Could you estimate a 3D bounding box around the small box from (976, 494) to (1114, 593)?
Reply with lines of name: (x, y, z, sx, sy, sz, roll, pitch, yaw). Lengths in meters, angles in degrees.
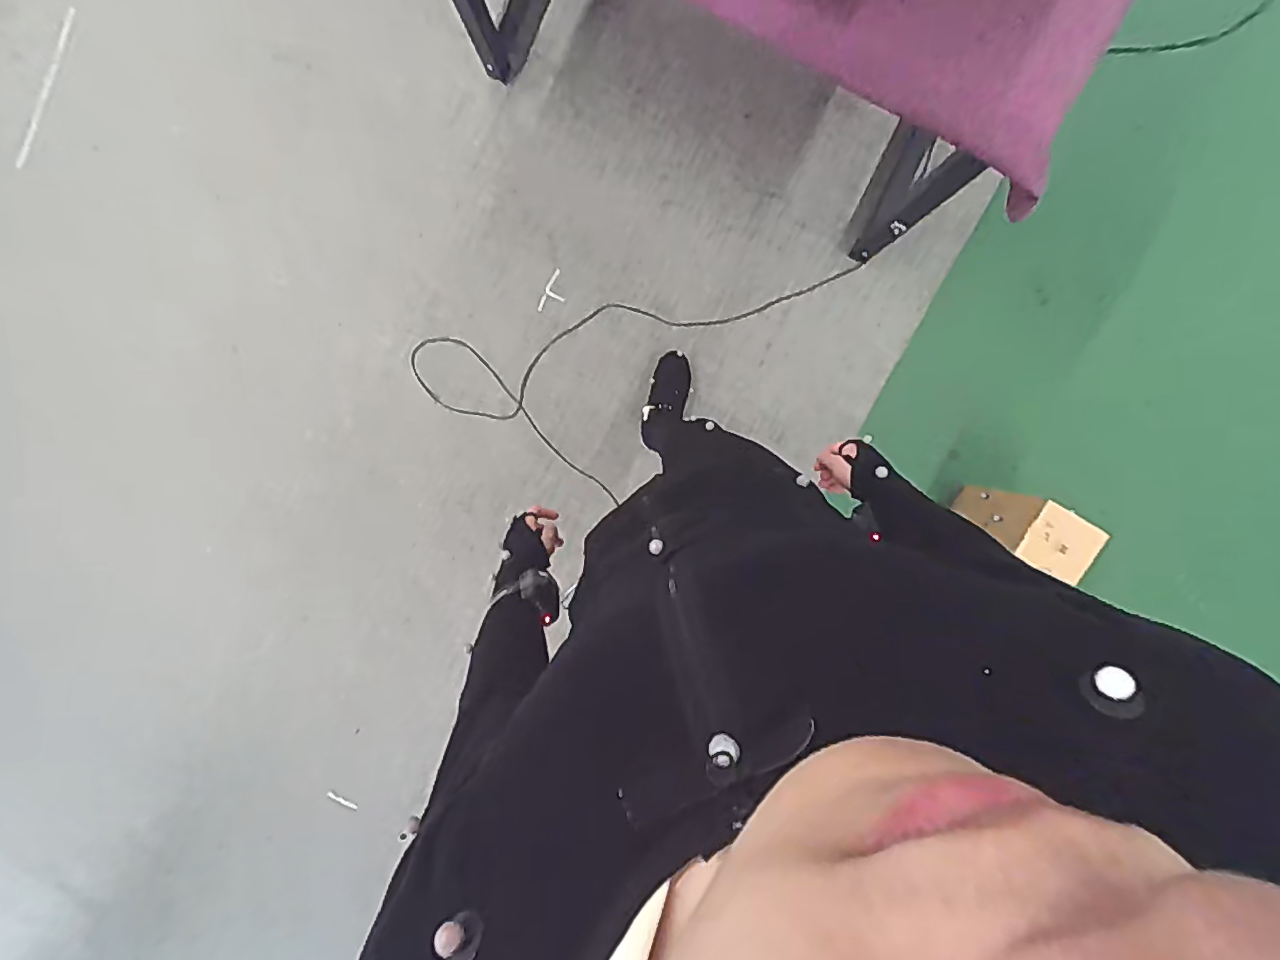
small box: (1.000, 0.149, 1.351, 0.179, 0.176, 0.168, 30, 95, -2)
